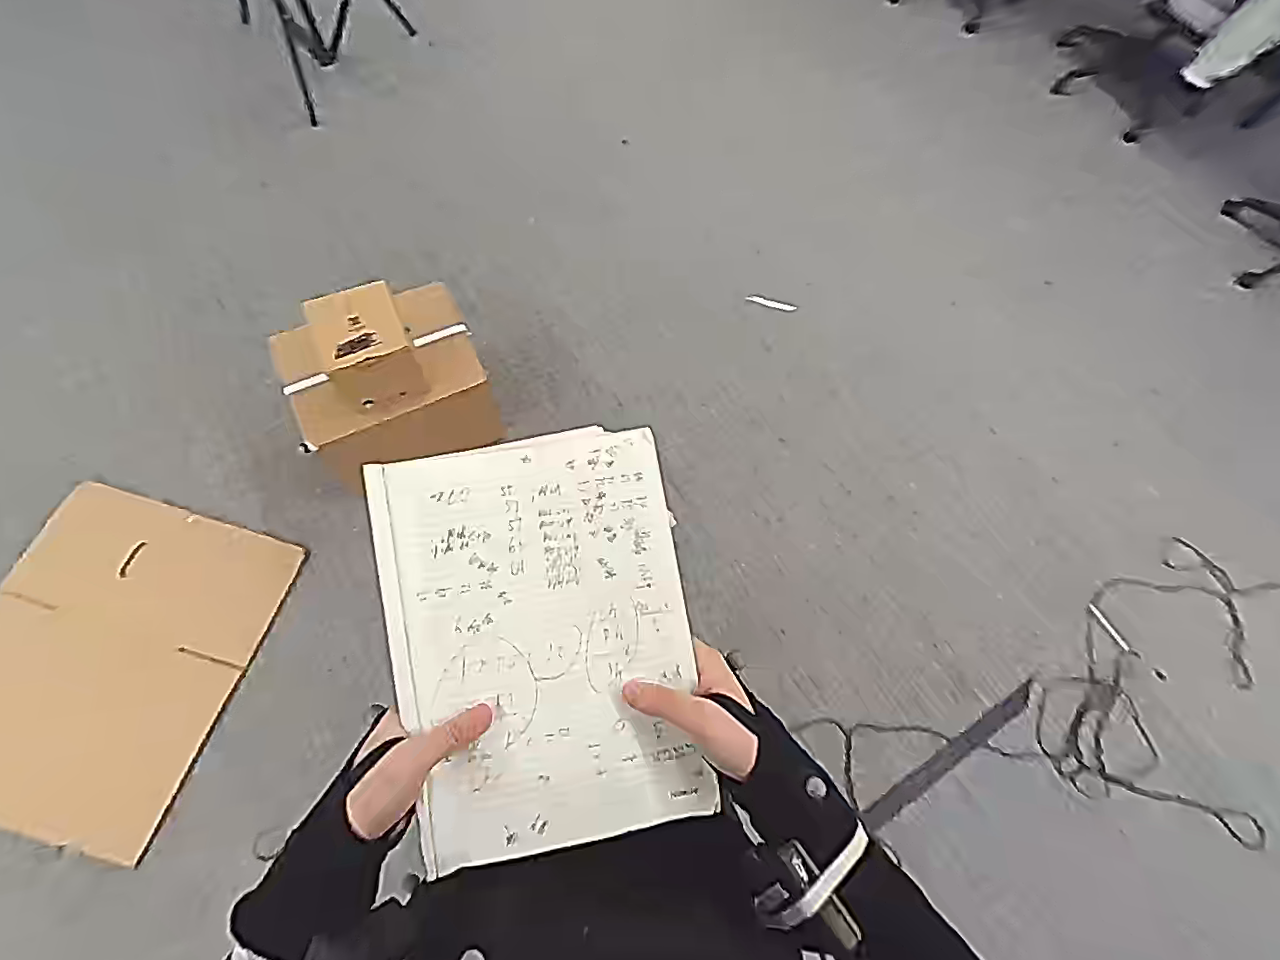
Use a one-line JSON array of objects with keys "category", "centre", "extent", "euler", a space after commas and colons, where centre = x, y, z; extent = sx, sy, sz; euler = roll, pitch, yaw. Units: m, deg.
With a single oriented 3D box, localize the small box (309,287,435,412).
[{"category": "small box", "centre": [-0.552, -0.263, 1.135], "extent": [0.168, 0.176, 0.179], "euler": [-22, 73, -13]}]
